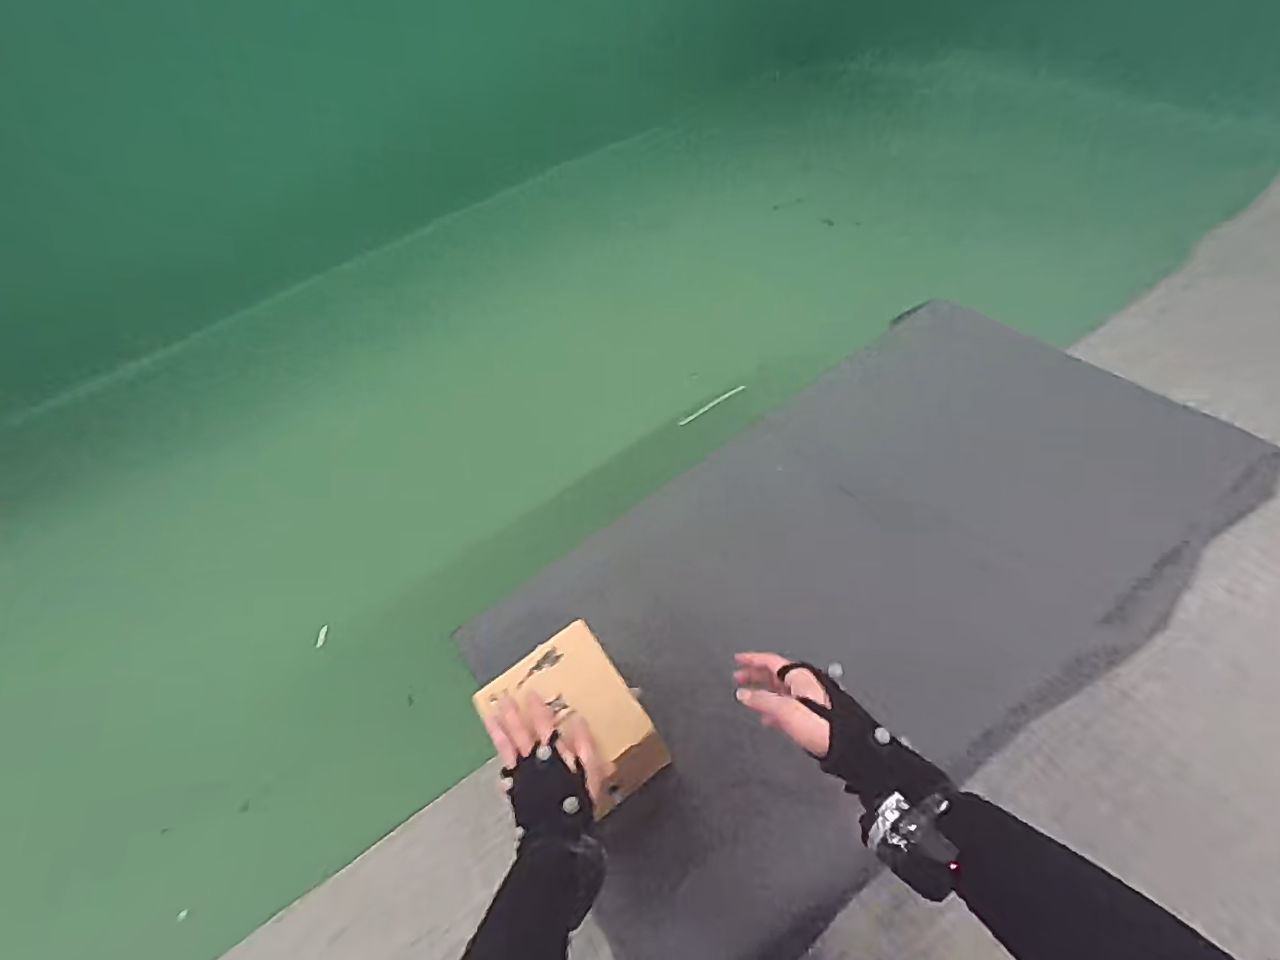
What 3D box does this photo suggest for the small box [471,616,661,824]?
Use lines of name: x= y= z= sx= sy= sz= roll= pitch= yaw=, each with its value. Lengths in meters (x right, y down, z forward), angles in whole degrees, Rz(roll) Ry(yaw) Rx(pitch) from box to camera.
small box: x=-0.087 y=0.318 z=0.710 sx=0.168 sy=0.176 sz=0.179 roll=-33 pitch=55 yaw=-15
